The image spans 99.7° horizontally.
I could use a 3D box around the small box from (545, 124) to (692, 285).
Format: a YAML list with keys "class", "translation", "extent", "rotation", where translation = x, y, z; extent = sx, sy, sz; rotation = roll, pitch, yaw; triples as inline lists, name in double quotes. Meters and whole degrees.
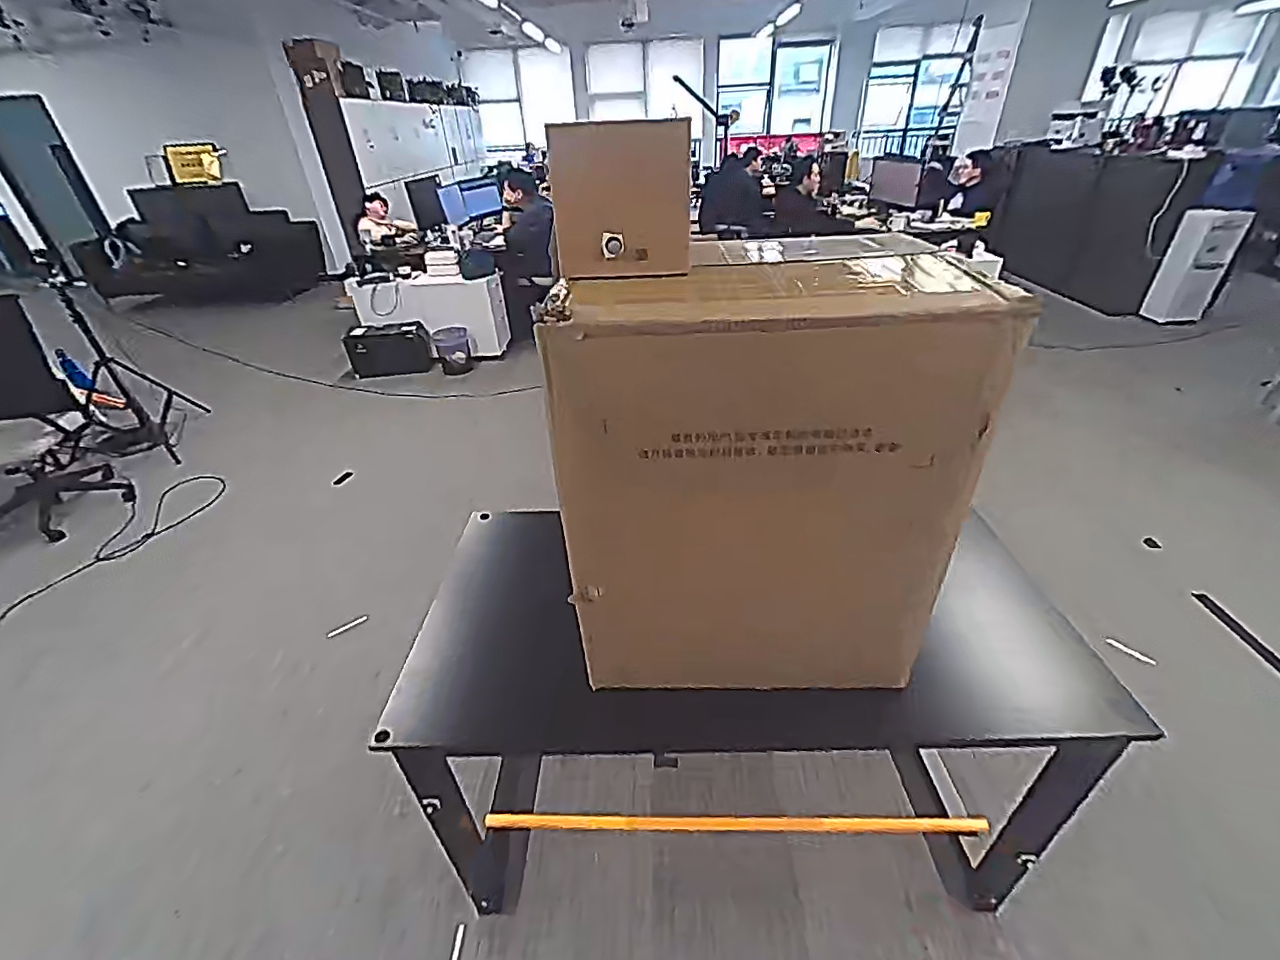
- class: "small box"
  translation: [-0.024, -0.361, 0.711]
  extent: [0.168, 0.176, 0.179]
  rotation: [-4, 33, 0]
